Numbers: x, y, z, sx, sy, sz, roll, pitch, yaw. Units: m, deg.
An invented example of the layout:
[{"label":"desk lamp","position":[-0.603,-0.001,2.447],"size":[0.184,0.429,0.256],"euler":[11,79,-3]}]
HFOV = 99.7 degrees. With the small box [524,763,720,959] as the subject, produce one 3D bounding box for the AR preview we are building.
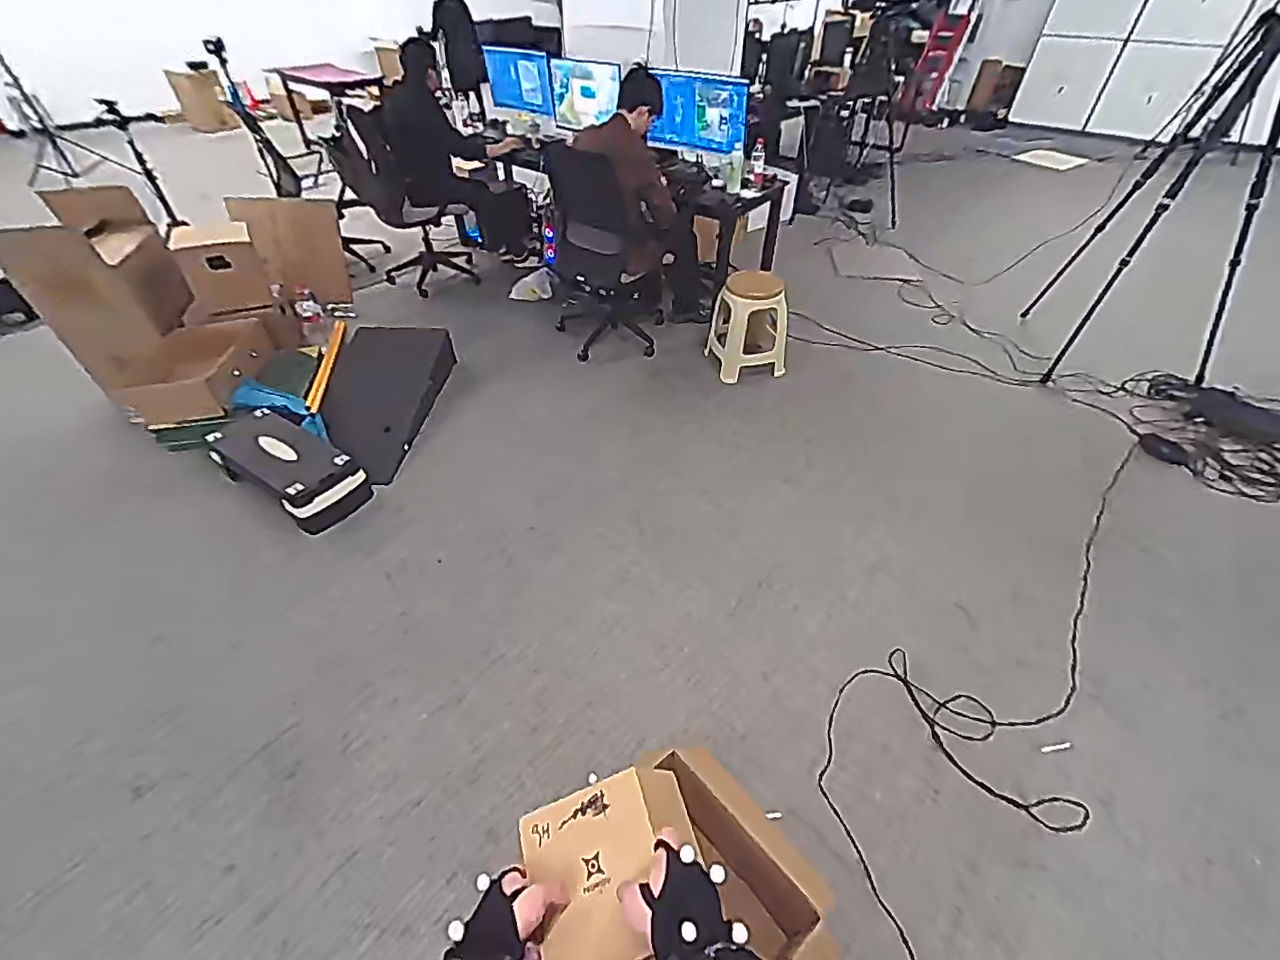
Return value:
[{"label":"small box","position":[-0.018,0.486,0.694],"size":[0.168,0.176,0.179],"euler":[-31,54,7]}]
